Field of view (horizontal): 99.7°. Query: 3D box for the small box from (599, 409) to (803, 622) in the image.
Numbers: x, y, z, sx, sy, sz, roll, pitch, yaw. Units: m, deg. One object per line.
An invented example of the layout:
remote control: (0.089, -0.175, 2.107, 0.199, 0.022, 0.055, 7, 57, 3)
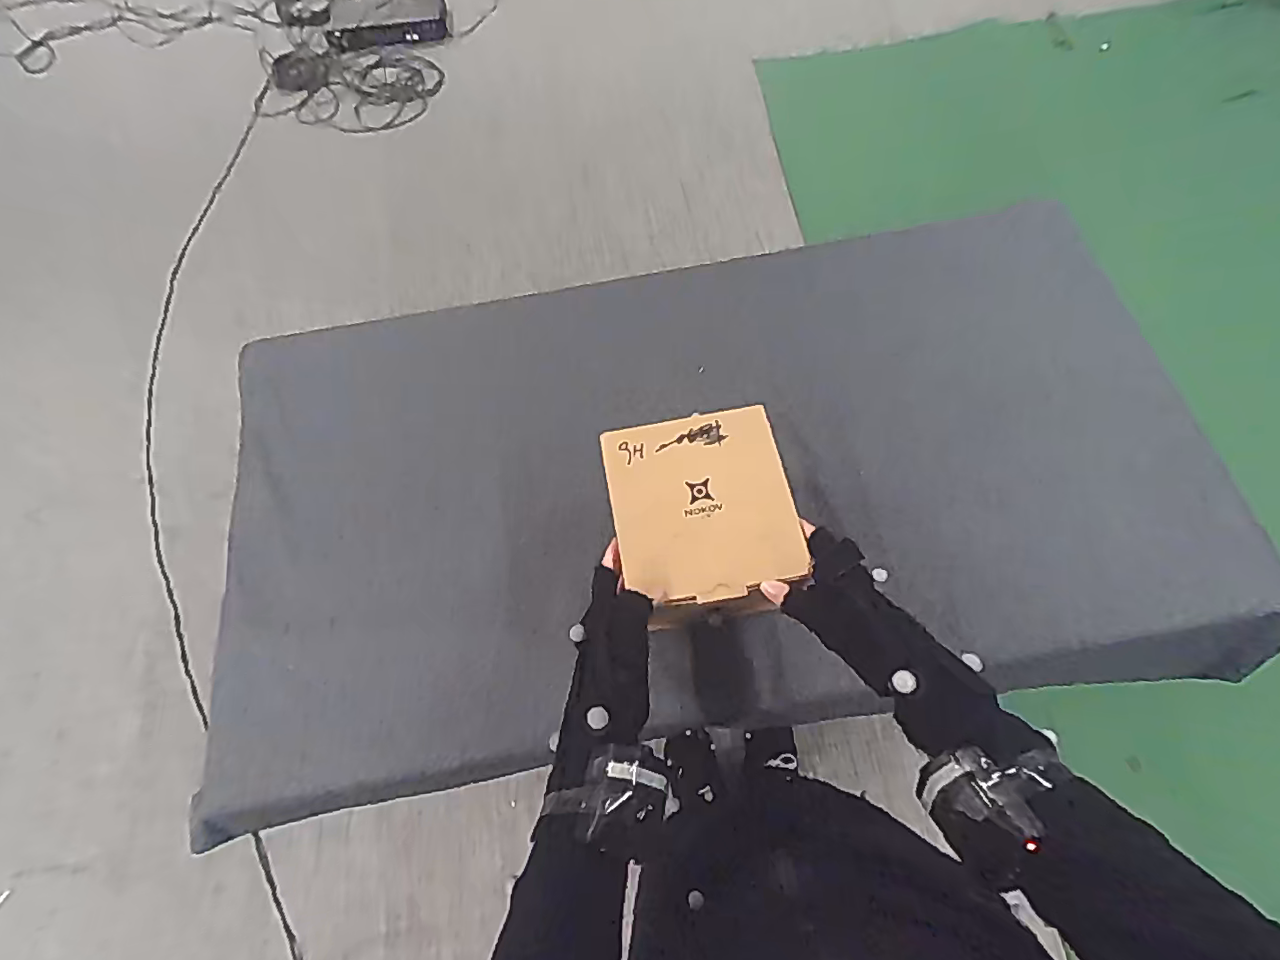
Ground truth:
small box: (0.056, 0.050, 0.575, 0.168, 0.176, 0.179, -10, 69, -1)
